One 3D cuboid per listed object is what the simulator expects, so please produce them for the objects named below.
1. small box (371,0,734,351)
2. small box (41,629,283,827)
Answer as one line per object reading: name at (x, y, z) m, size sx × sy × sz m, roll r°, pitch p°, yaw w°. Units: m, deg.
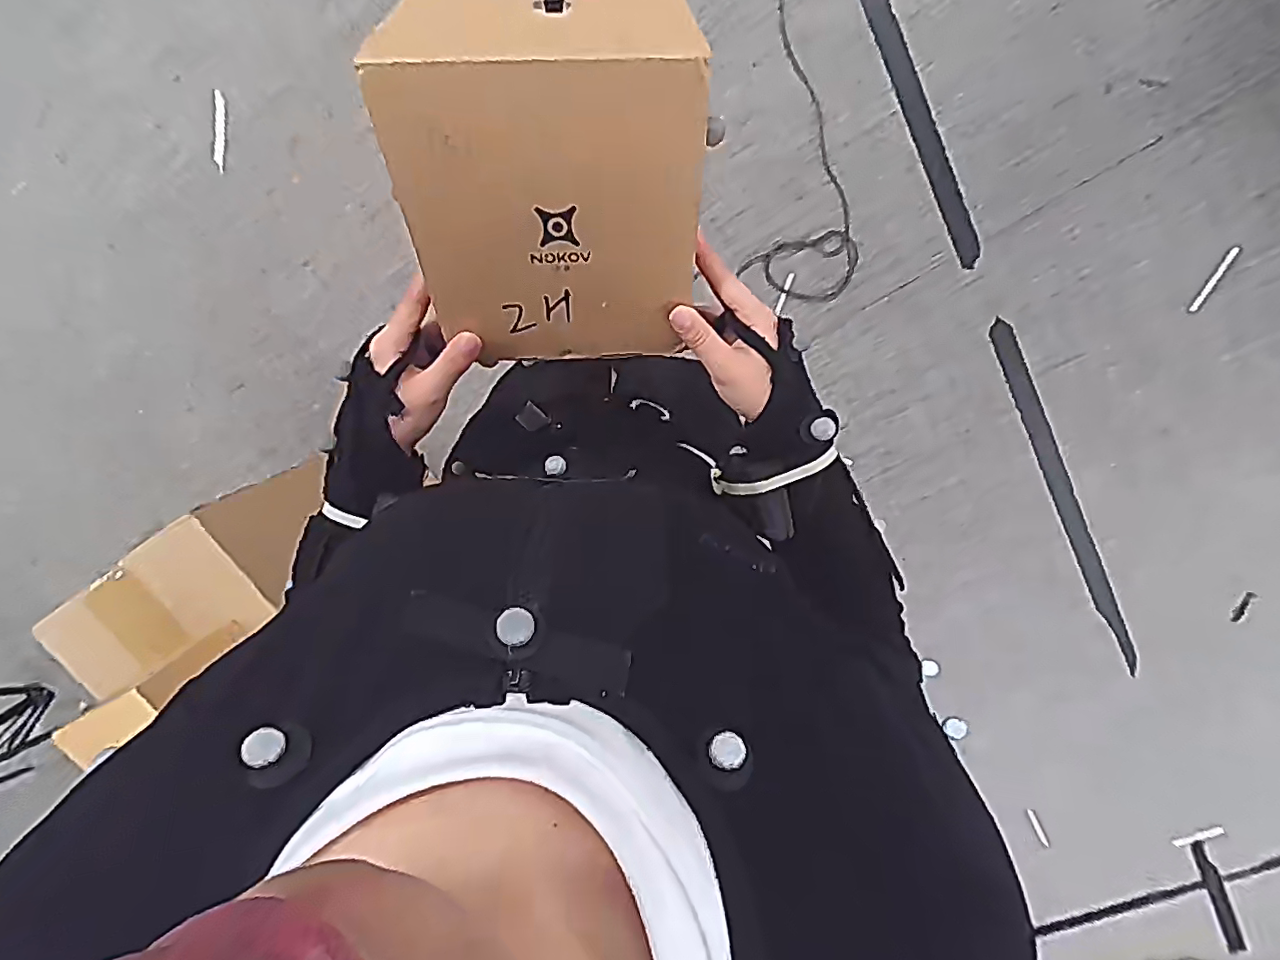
small box at (-0.046, -0.207, 0.353) m, size 0.168 × 0.176 × 0.179 m, roll -2°, pitch 141°, yaw -3°
small box at (-0.667, 0.349, 0.786) m, size 0.179 × 0.176 × 0.168 m, roll -28°, pitch 104°, yaw 12°
